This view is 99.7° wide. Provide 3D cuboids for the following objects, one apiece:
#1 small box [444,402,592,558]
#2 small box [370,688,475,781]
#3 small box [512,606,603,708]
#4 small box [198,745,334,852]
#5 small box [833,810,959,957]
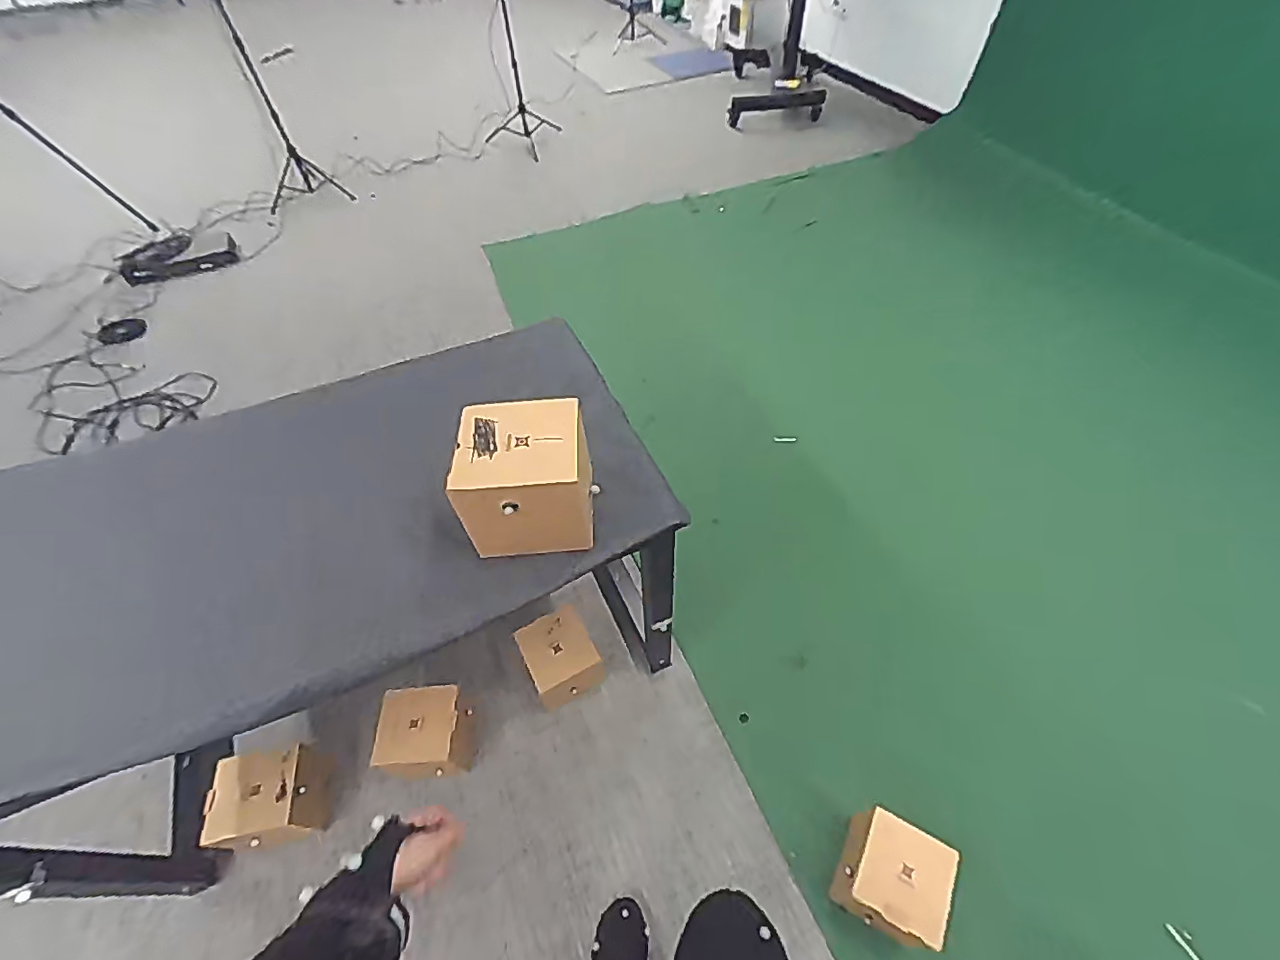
[{"bbox_3d":[-0.170,0.005,0.816,0.179,0.176,0.168,-5,50,0],"label":"small box"},{"bbox_3d":[-0.506,0.610,1.290,0.179,0.176,0.168,-5,52,0],"label":"small box"},{"bbox_3d":[-0.206,0.463,1.389,0.168,0.176,0.179,-25,56,-17],"label":"small box"},{"bbox_3d":[-0.828,0.720,1.217,0.179,0.176,0.168,-11,53,-6],"label":"small box"},{"bbox_3d":[0.514,0.814,1.103,0.168,0.176,0.179,24,58,18],"label":"small box"}]
